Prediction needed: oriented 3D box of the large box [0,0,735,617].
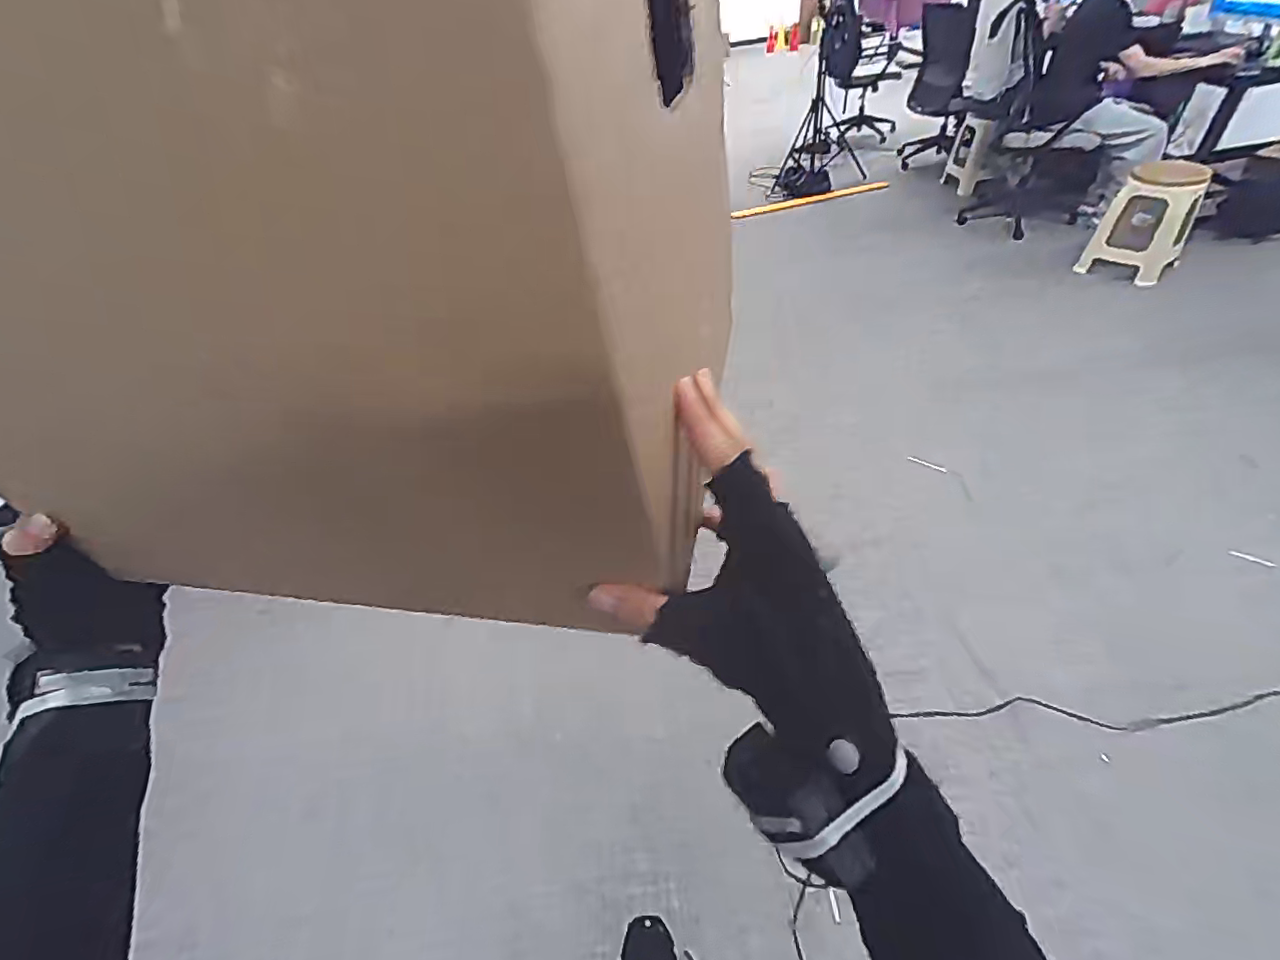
[{"bbox_3d":[-0.157,-0.140,0.335,0.408,0.320,0.320,3,46,14],"label":"large box"}]
